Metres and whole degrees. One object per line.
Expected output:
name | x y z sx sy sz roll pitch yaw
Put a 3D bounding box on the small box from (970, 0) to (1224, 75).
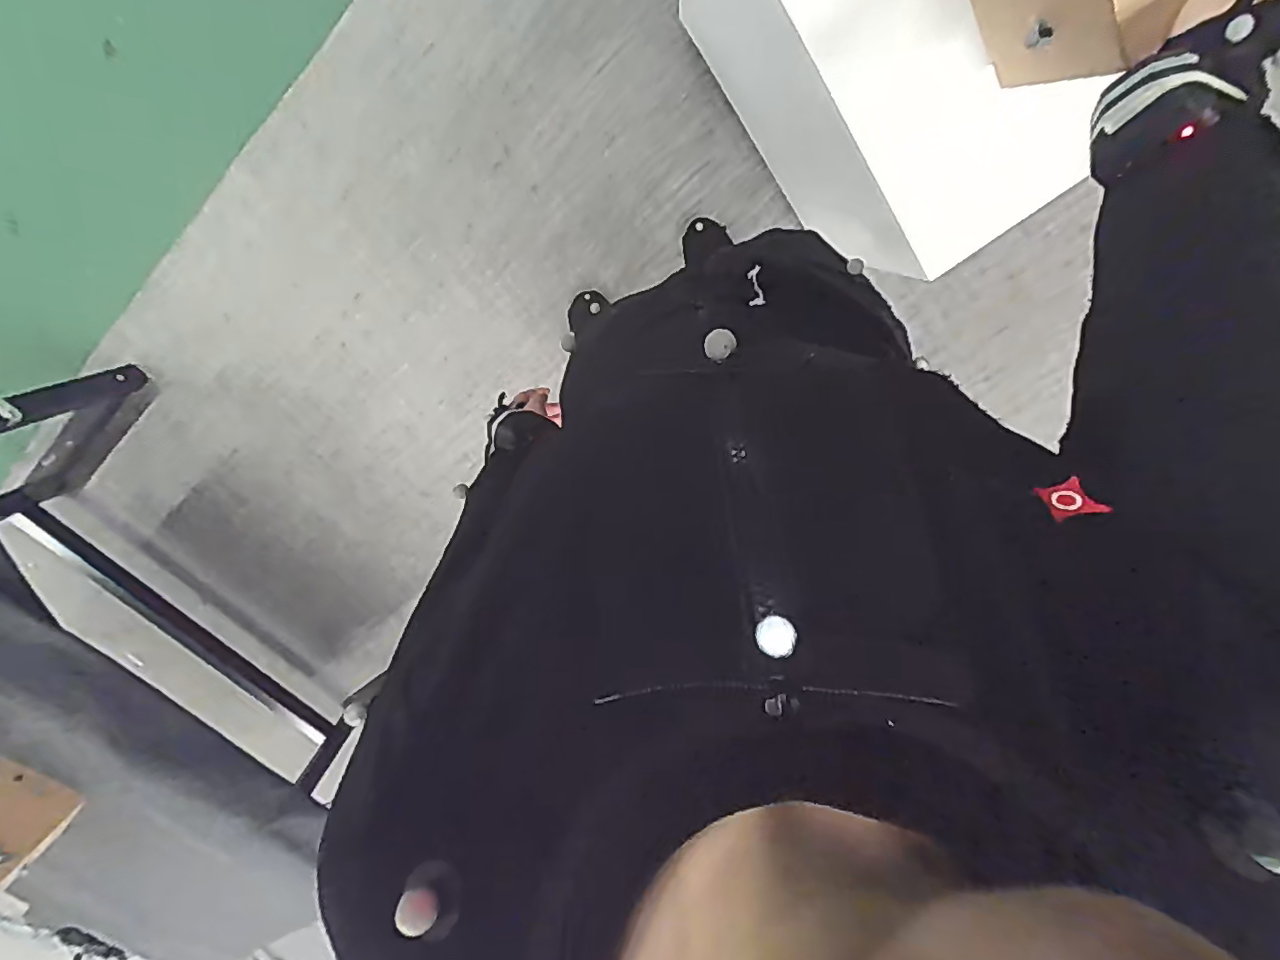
small box | 0.361 -0.437 0.395 0.168 0.176 0.179 -35 114 19
